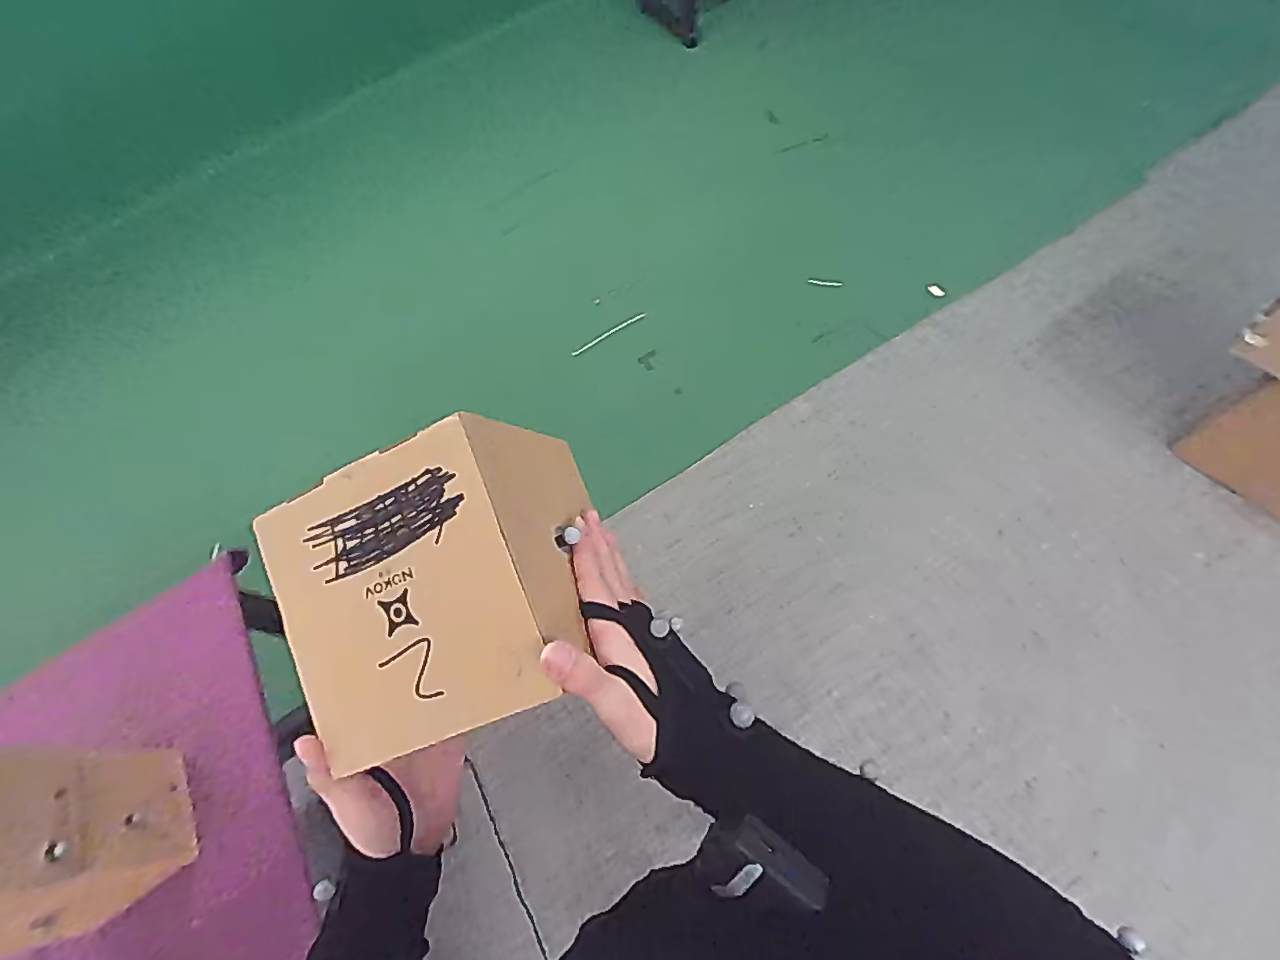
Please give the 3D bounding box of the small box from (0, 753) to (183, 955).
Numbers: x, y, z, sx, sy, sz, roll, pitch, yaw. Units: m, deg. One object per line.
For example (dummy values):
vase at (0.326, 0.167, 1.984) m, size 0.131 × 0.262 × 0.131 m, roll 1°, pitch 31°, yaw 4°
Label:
small box at (-0.767, 0.491, 0.729) m, size 0.179 × 0.176 × 0.168 m, roll -35°, pitch 64°, yaw -6°
